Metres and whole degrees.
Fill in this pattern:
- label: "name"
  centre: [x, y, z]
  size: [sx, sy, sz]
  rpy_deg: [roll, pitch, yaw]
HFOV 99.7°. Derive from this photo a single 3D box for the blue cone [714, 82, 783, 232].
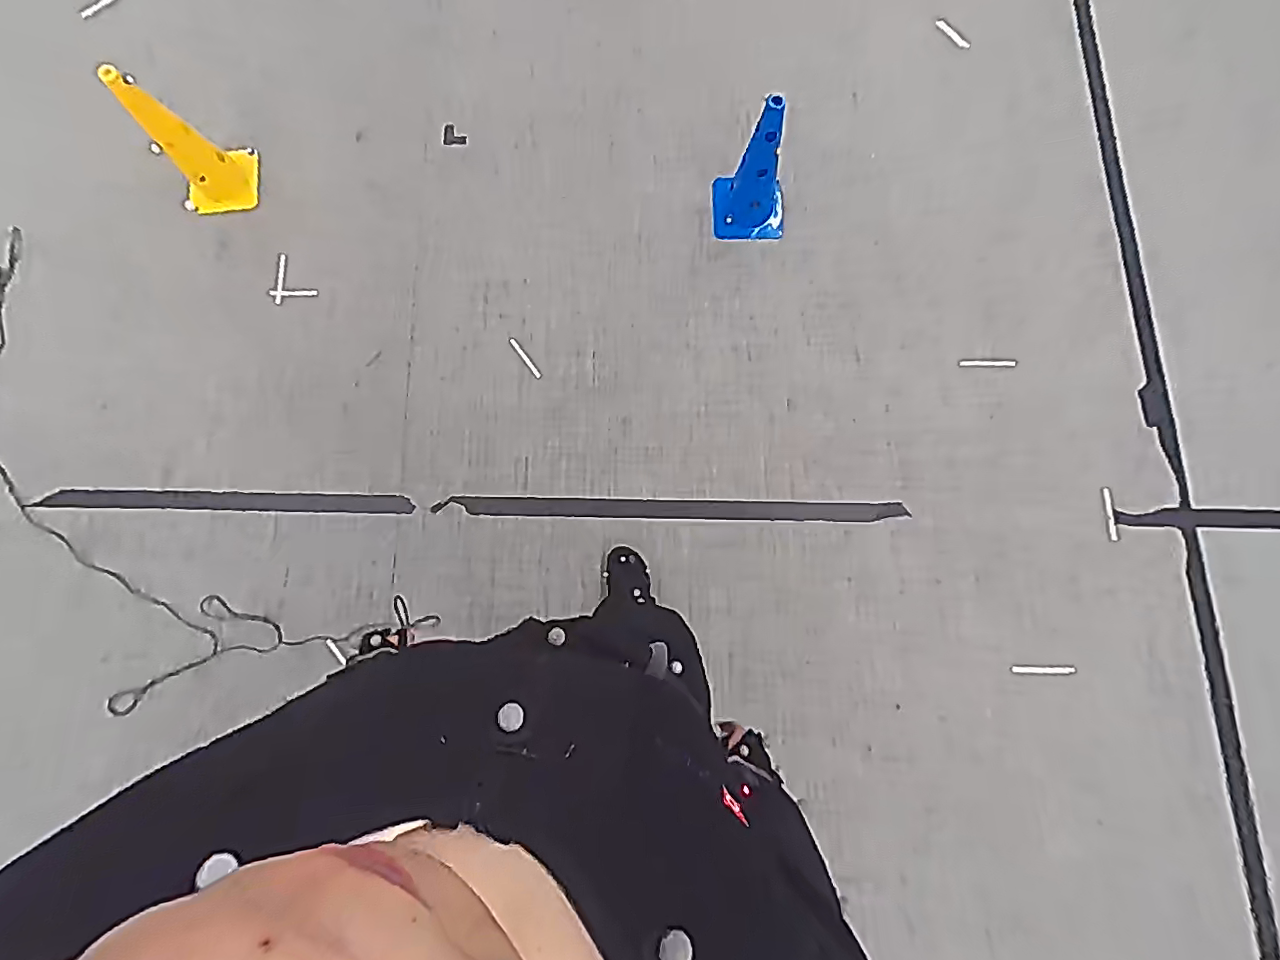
- label: "blue cone"
  centre: [0.306, -0.827, 1.386]
  size: [0.193, 0.380, 0.192]
  rpy_deg: [1, 78, 1]
